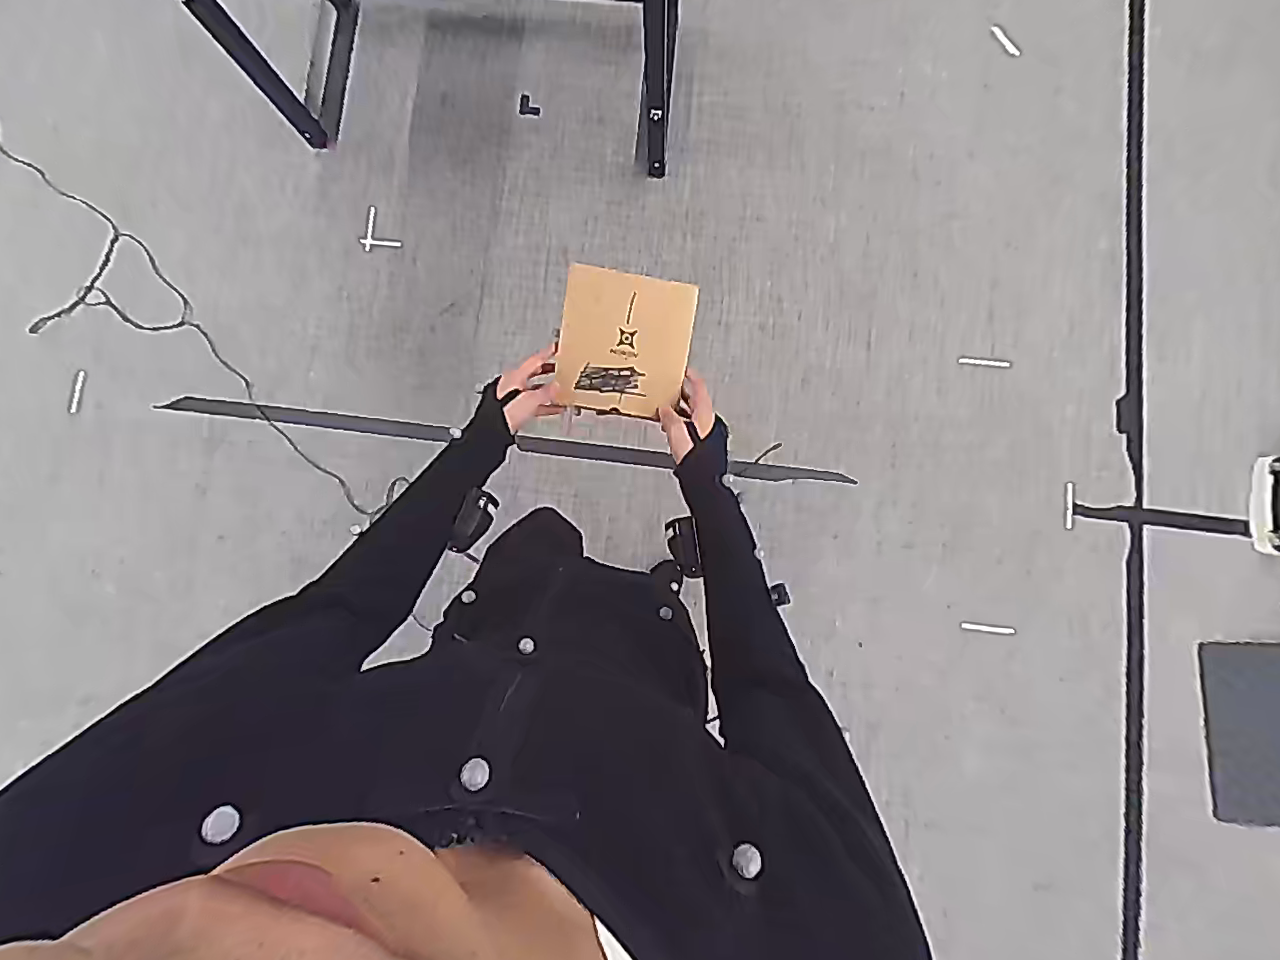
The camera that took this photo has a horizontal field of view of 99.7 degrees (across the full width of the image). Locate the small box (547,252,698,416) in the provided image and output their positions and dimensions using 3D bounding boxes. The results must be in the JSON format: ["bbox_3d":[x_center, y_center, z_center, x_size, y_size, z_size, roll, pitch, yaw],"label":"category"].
[{"bbox_3d":[-0.027,-0.187,0.739,0.168,0.176,0.179,8,97,-6],"label":"small box"}]
